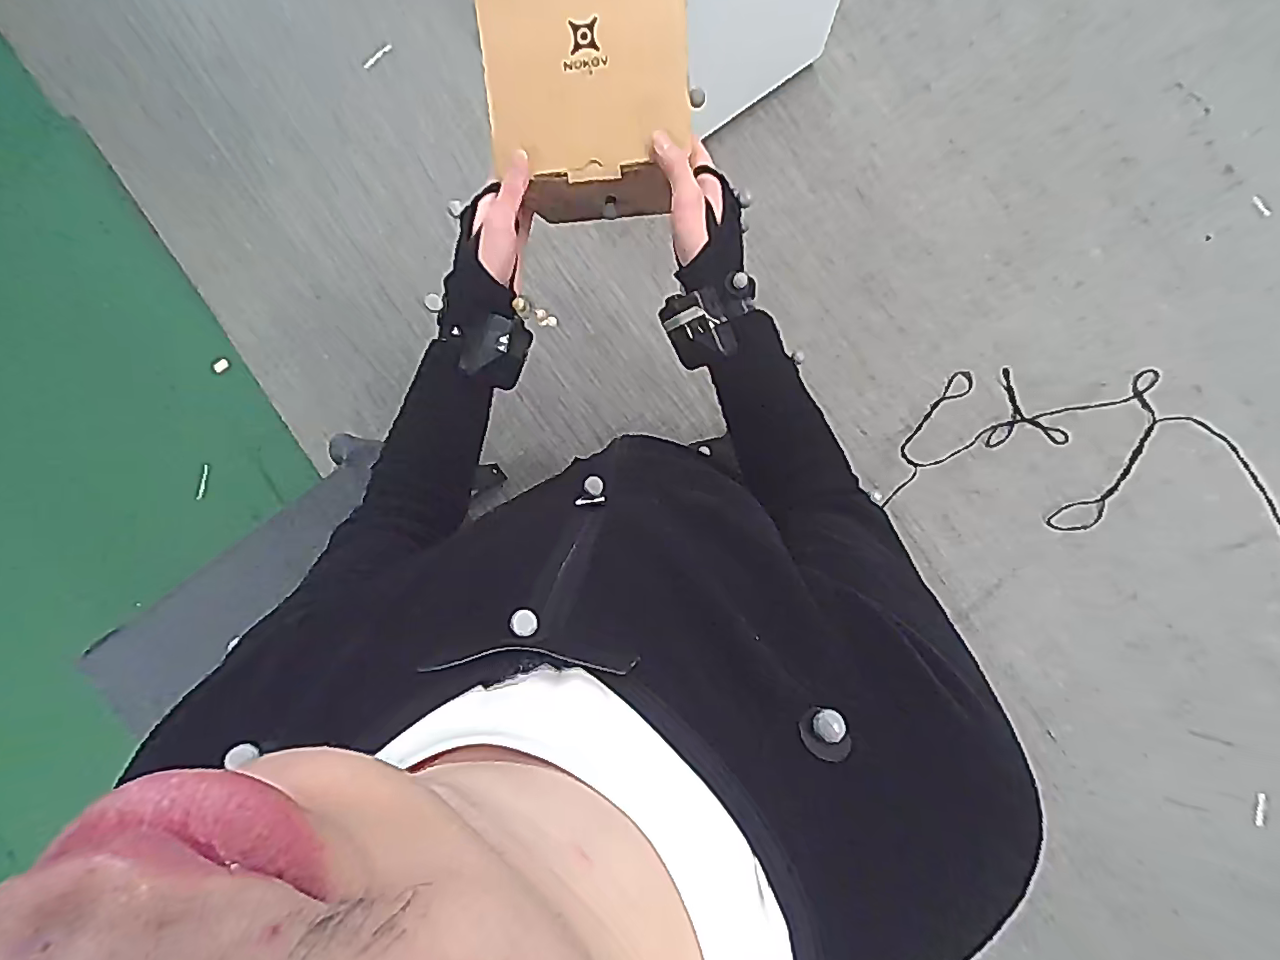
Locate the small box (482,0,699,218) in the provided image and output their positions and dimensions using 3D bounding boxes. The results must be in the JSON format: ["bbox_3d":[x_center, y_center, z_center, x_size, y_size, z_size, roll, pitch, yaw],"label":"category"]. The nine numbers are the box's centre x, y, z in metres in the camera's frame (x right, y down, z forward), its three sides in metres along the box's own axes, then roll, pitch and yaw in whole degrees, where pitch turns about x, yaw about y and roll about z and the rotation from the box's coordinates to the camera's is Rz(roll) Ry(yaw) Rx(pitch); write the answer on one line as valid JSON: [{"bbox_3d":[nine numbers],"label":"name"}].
[{"bbox_3d":[-0.032,-0.360,0.509,0.168,0.176,0.179,-4,103,7],"label":"small box"}]
